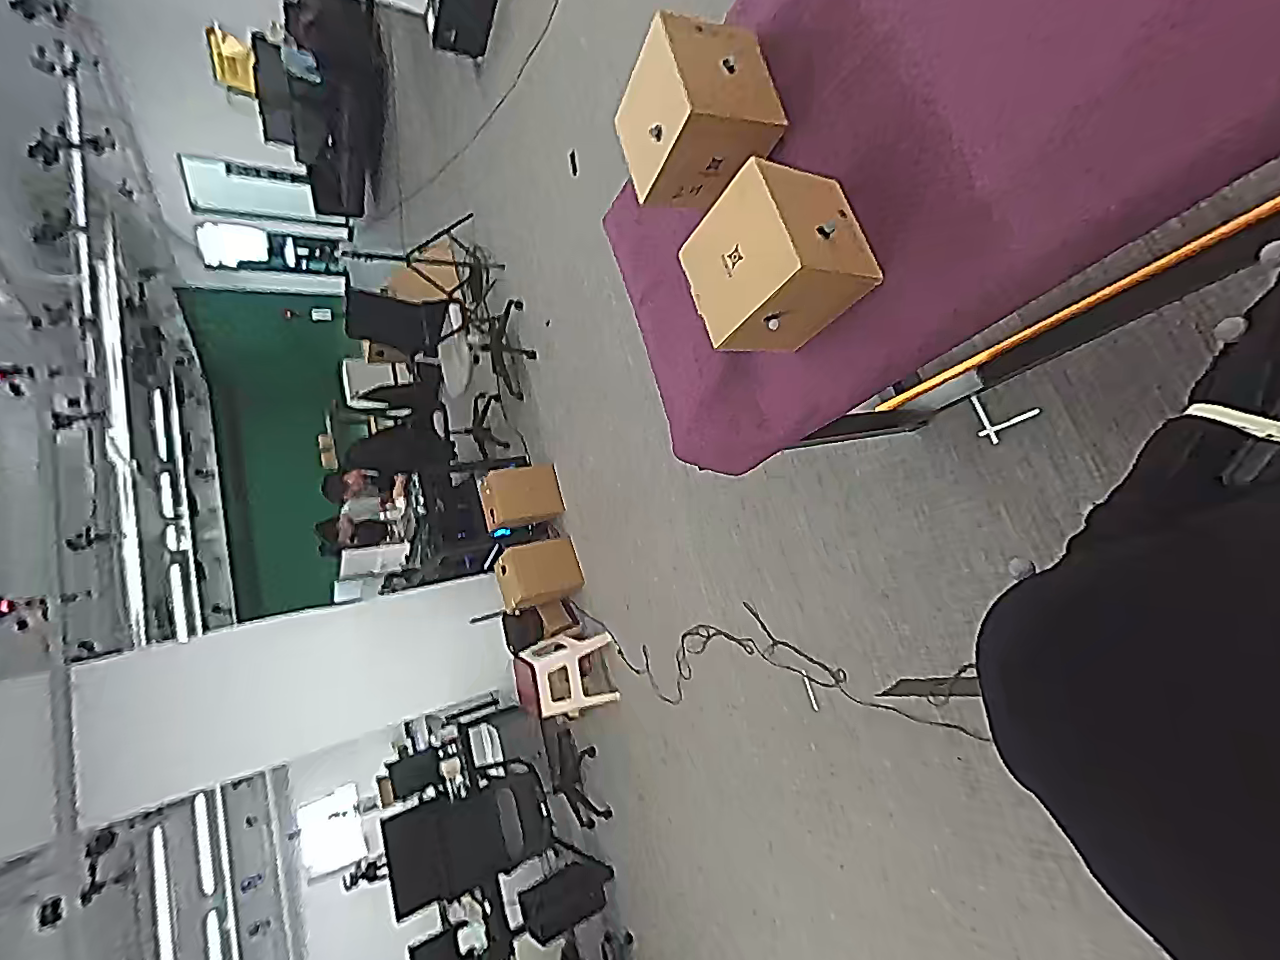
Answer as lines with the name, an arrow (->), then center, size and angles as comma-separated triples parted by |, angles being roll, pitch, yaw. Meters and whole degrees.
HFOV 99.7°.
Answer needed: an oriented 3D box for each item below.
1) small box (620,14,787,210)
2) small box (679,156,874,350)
small box -> 0.084, -0.540, 0.812 | 0.179, 0.168, 0.176 | -36, 66, 63
small box -> 0.187, -0.296, 0.739 | 0.179, 0.176, 0.168 | -39, 65, 54
